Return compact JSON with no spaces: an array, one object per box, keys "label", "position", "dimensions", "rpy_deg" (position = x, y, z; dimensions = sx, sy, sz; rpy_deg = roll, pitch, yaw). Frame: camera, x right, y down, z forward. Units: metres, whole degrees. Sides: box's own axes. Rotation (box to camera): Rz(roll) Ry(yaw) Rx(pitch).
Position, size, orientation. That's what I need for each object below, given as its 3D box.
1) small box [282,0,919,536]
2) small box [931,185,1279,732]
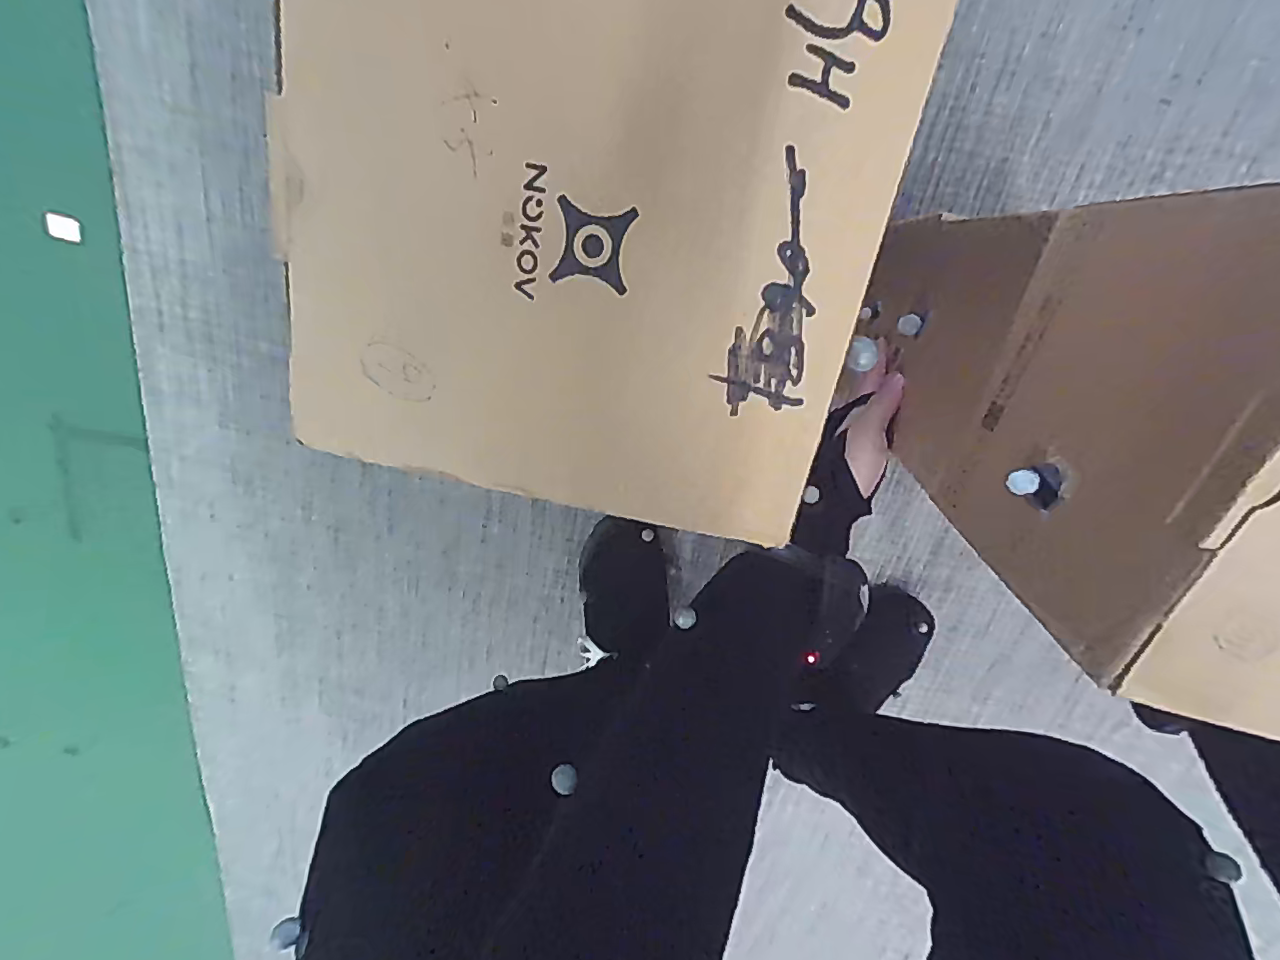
[{"label":"small box","position":[-0.016,-0.099,0.240],"dimensions":[0.179,0.176,0.168],"rpy_deg":[12,111,4]},{"label":"small box","position":[0.262,-0.013,0.229],"dimensions":[0.179,0.176,0.168],"rpy_deg":[14,115,1]}]
